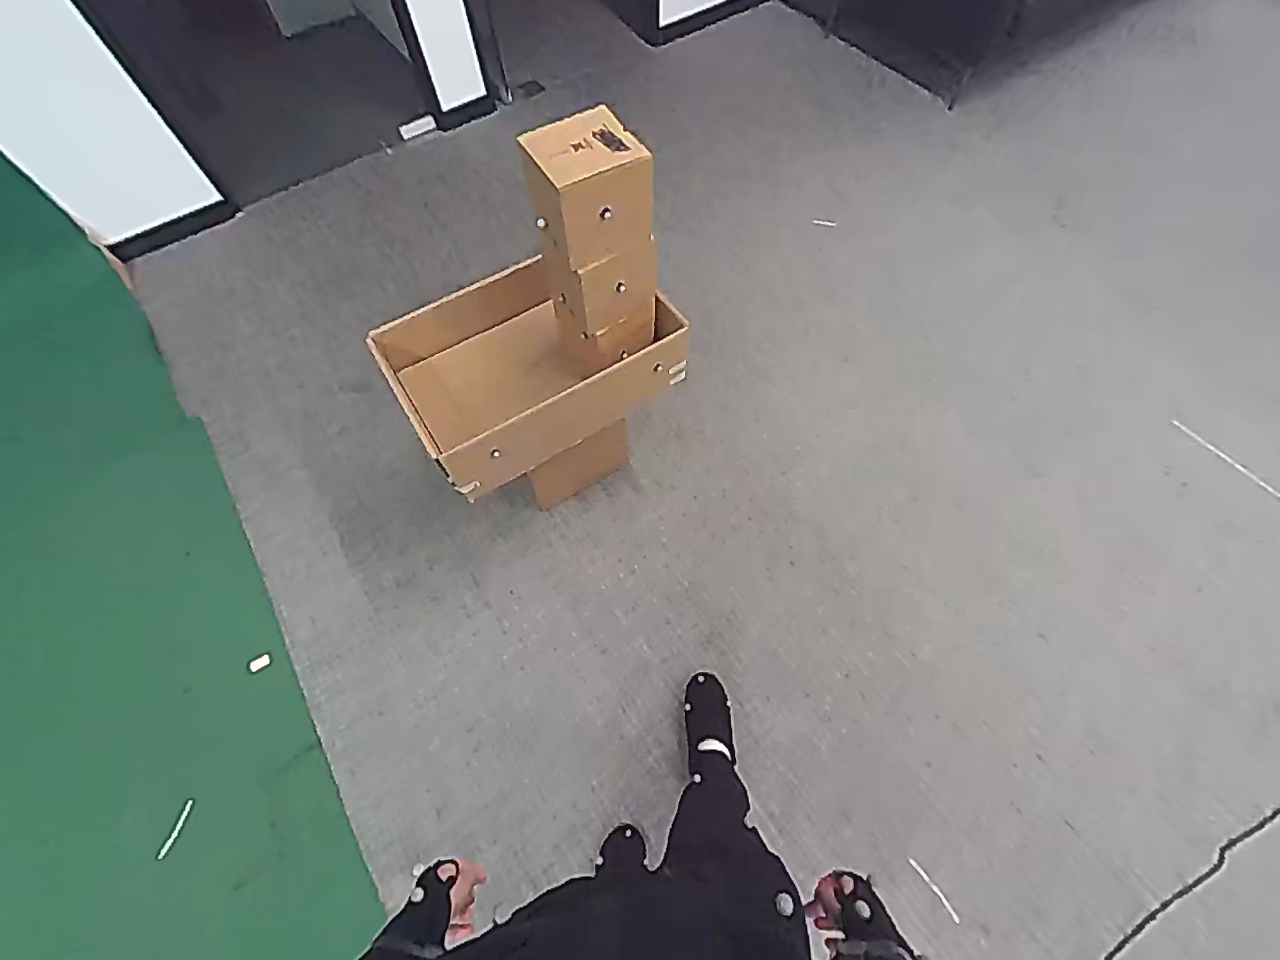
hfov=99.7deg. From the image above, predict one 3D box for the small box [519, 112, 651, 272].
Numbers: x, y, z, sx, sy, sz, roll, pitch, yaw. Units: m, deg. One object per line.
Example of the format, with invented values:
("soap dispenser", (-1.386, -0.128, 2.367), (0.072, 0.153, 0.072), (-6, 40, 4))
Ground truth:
("small box", (-0.094, -0.516, 0.981), (0.179, 0.176, 0.168), (-28, 65, -12))
